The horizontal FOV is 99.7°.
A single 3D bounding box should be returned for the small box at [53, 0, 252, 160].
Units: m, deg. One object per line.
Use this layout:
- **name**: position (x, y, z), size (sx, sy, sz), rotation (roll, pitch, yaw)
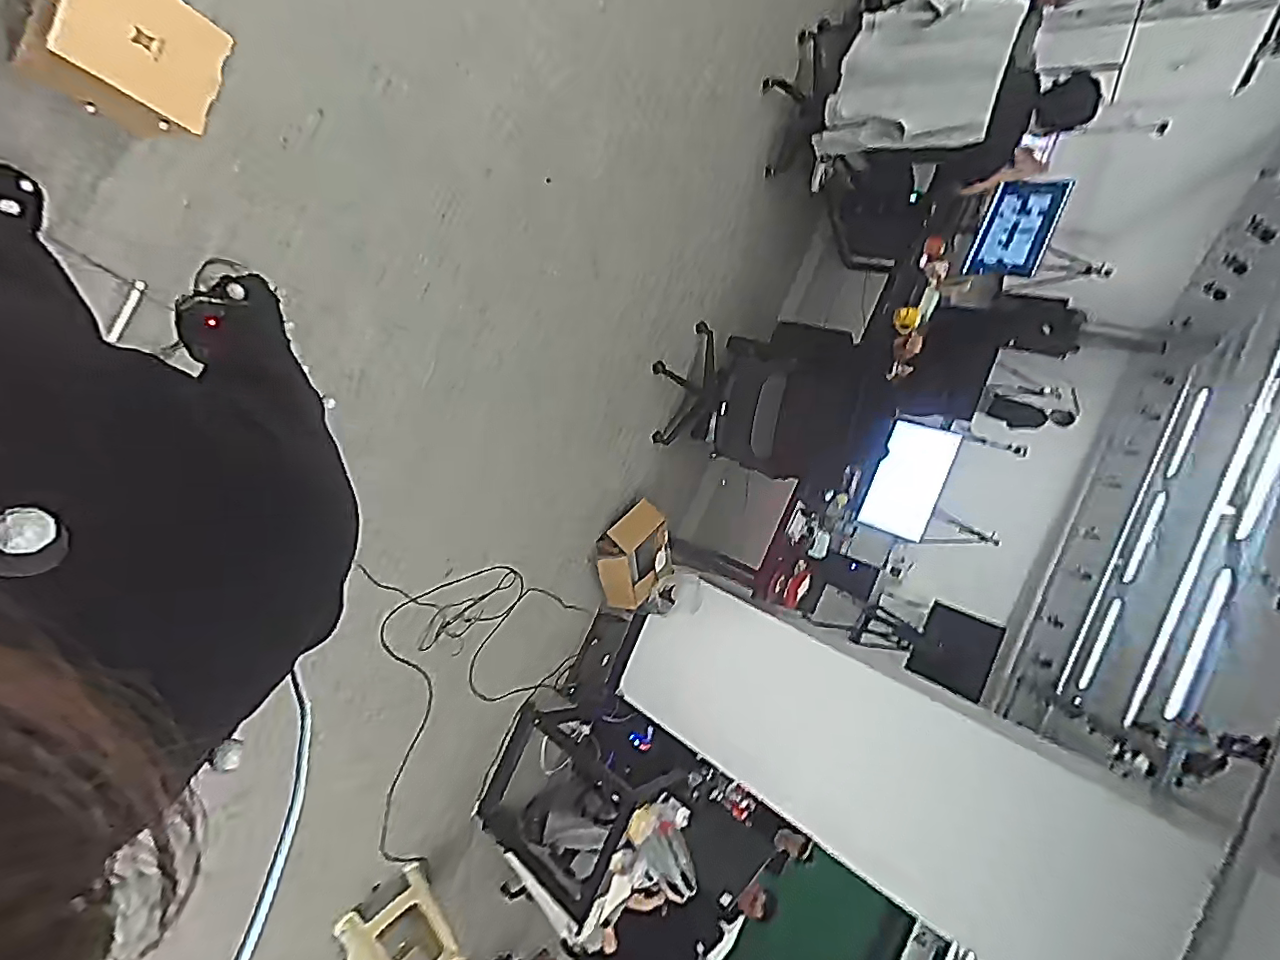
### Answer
- **small box**: position (-0.740, -0.637, 0.833), size (0.168, 0.176, 0.179), rotation (11, 82, -74)
